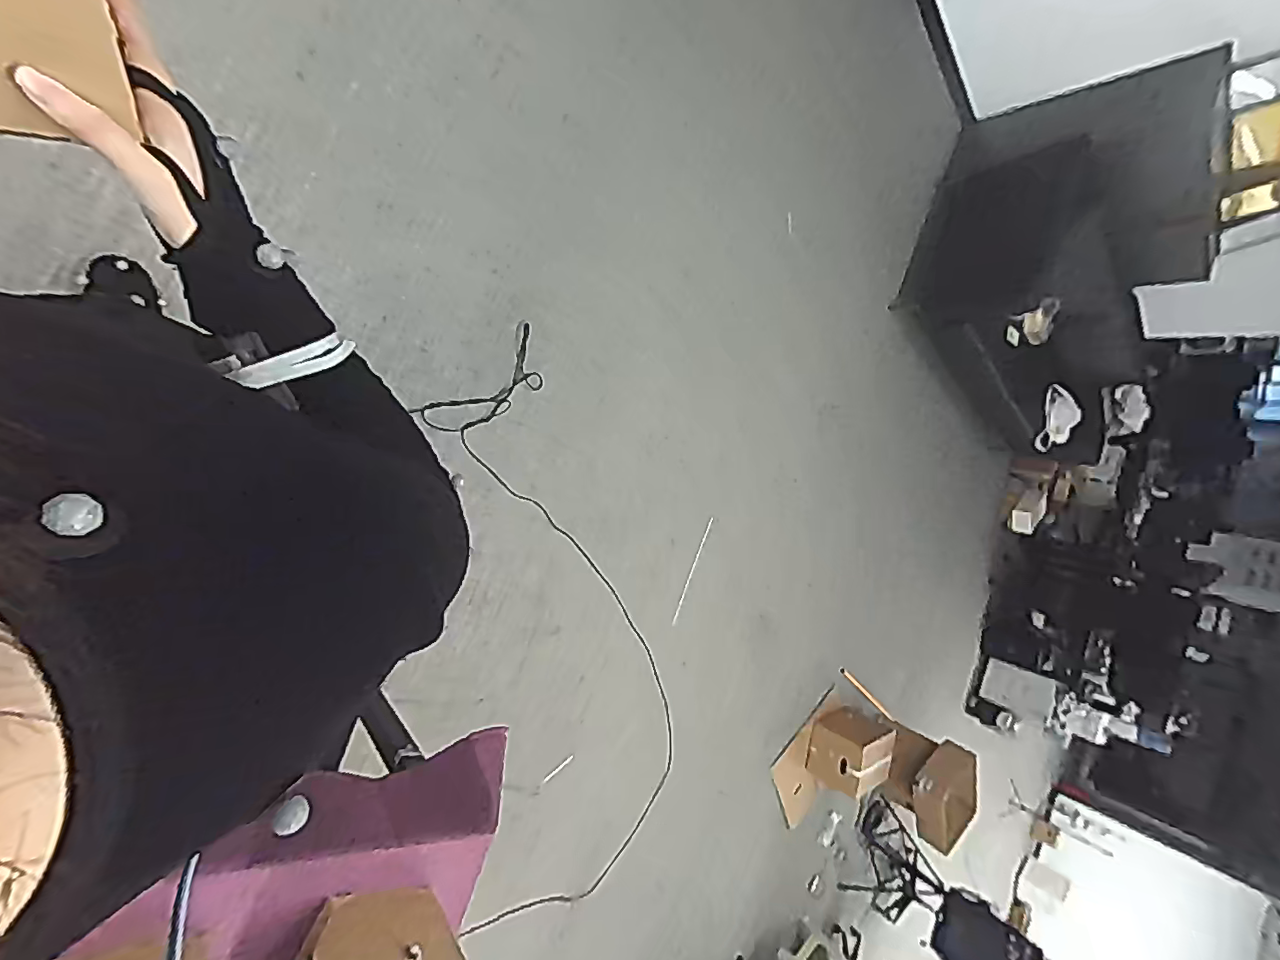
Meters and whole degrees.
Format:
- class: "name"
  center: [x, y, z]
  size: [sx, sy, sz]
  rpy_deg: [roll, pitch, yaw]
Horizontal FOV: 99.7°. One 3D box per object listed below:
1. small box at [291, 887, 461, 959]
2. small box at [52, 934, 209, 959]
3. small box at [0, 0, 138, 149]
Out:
- class: "small box"
  center: [-0.388, 0.725, 0.776]
  size: [0.179, 0.176, 0.168]
  rpy_deg: [33, 78, -40]
- class: "small box"
  center: [-0.596, 0.641, 0.576]
  size: [0.179, 0.176, 0.168]
  rpy_deg: [28, 82, -41]
- class: "small box"
  center: [-0.351, -0.289, 0.235]
  size: [0.168, 0.176, 0.179]
  rpy_deg: [-12, 149, -34]
